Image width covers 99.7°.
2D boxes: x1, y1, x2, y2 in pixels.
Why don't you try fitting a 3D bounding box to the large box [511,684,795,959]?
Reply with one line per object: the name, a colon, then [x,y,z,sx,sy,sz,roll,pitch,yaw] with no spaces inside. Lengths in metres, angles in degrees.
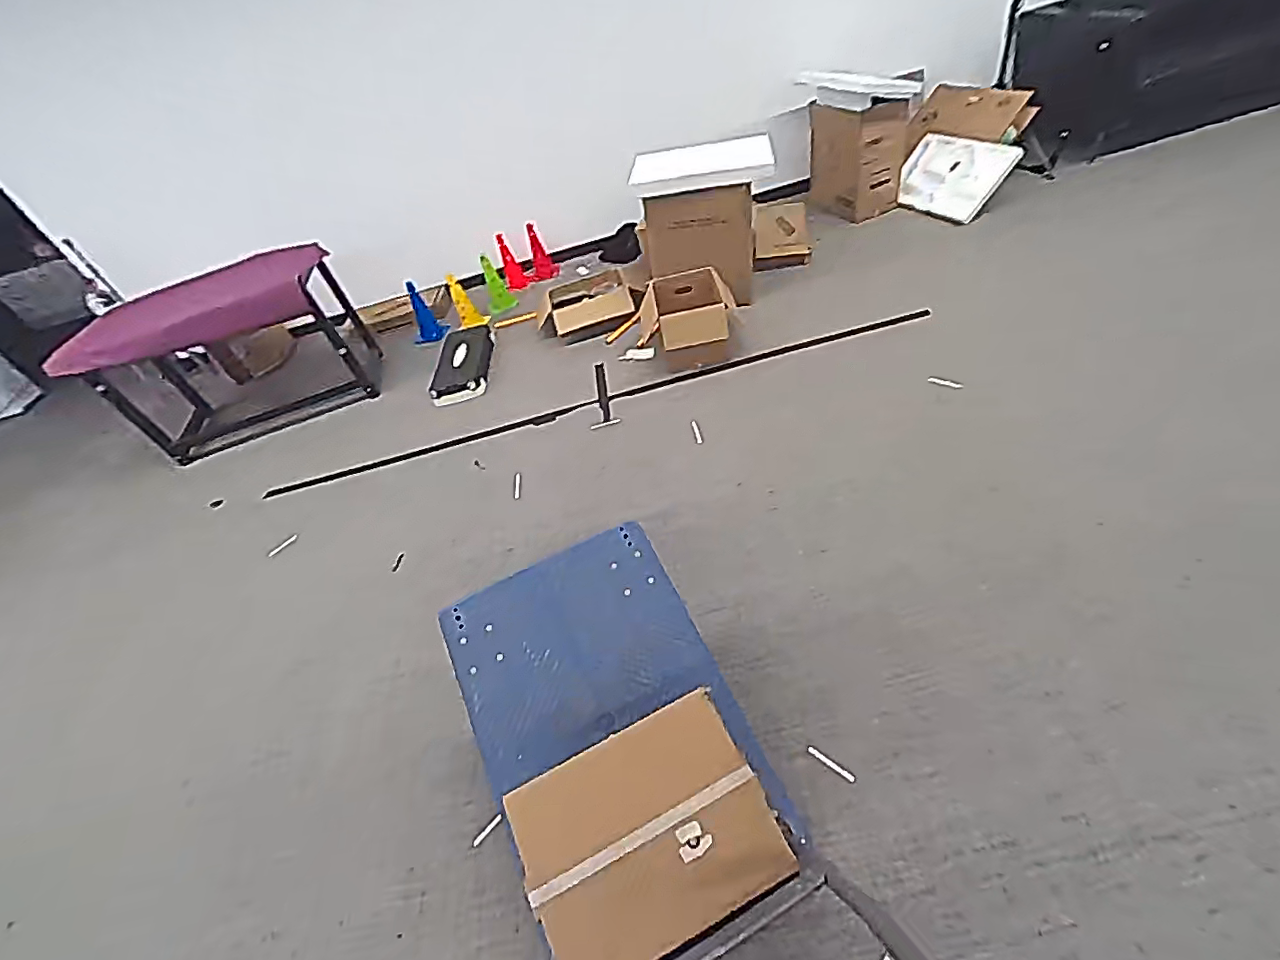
large box: [0.021,0.659,1.050,0.408,0.320,0.320,-26,64,-10]
